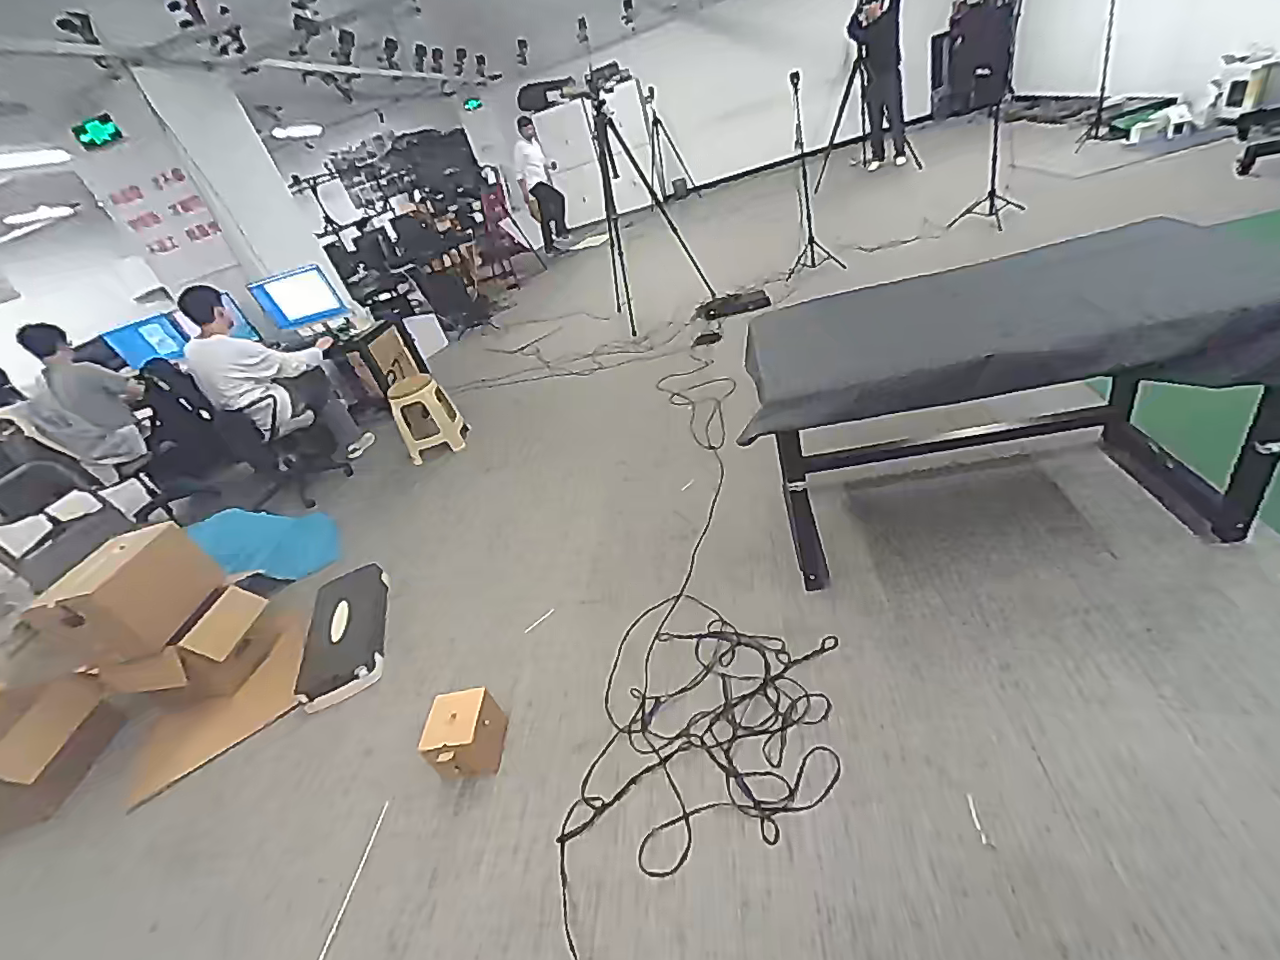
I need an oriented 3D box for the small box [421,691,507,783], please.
[{"bbox_3d":[-0.506,0.754,1.585,0.168,0.176,0.179,-13,34,8],"label":"small box"}]
